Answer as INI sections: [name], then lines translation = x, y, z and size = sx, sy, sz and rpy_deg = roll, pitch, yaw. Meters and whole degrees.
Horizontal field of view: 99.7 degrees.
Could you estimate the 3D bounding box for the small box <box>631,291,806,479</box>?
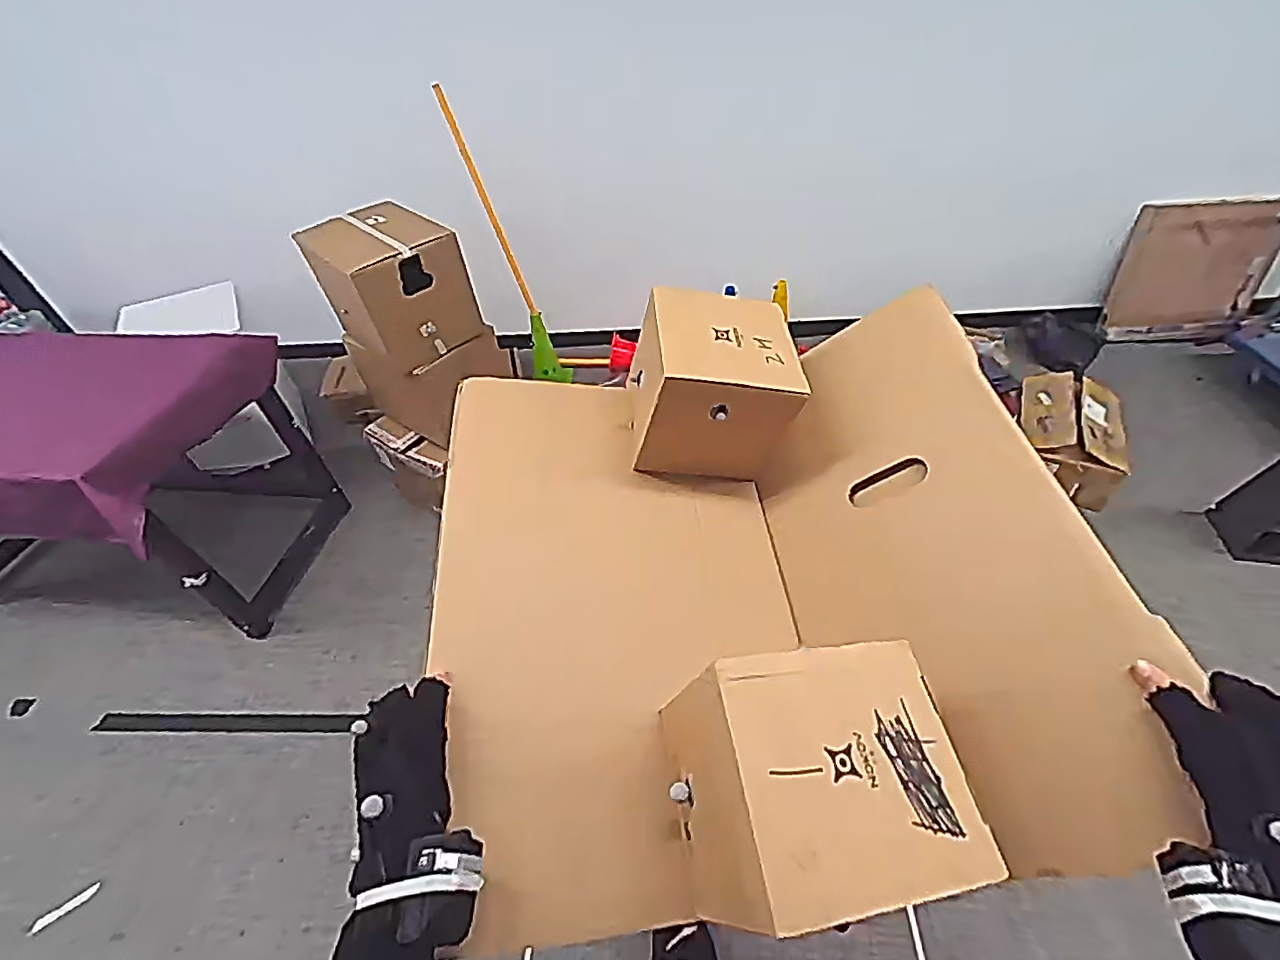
[small box]
translation = 0.085, -0.116, 0.707
size = 0.179, 0.176, 0.168
rpy_deg = 5, 53, -12
